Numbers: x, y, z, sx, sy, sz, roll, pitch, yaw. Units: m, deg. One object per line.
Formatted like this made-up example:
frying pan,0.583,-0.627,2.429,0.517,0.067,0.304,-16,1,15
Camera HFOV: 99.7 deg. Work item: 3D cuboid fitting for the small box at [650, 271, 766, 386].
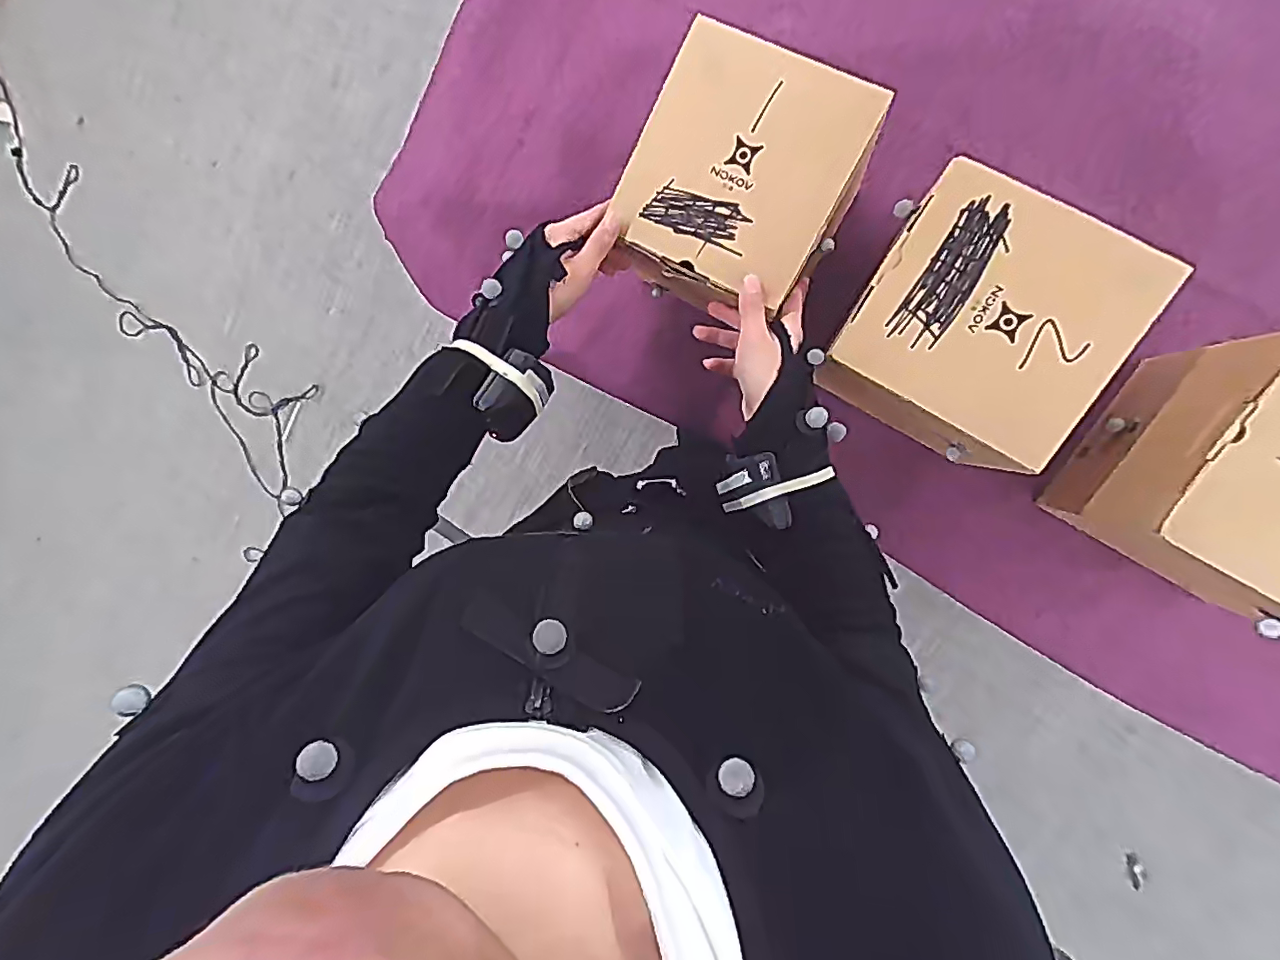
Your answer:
small box,0.148,-0.303,1.116,0.179,0.176,0.168,27,103,10
